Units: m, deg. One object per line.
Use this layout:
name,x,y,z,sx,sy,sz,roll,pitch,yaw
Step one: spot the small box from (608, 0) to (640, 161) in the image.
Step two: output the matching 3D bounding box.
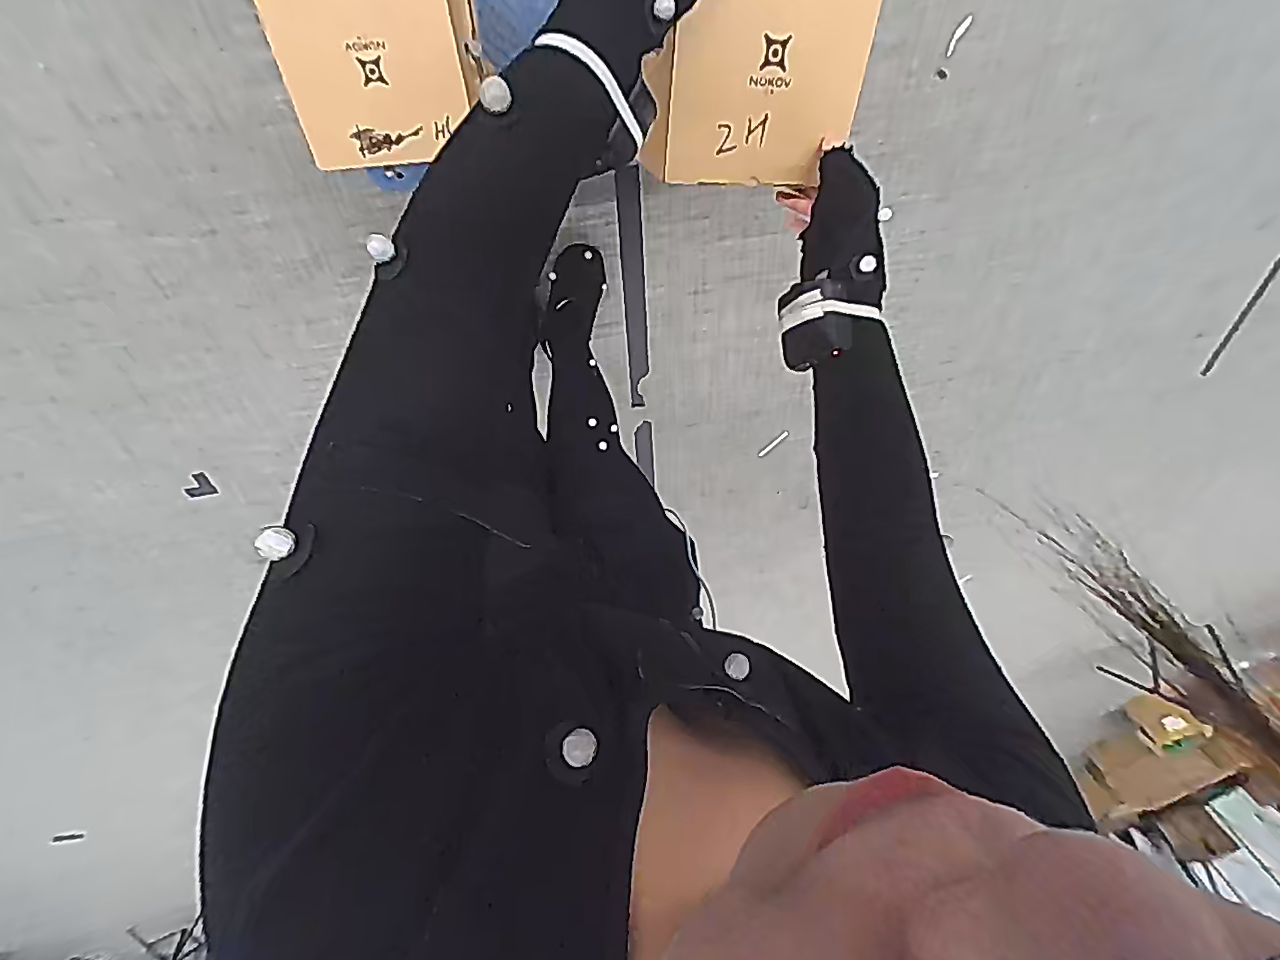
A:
small box,0.058,-0.476,0.627,0.179,0.176,0.168,-6,130,-10

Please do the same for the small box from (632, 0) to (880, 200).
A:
small box,0.088,-0.375,0.500,0.168,0.176,0.179,-4,130,-10

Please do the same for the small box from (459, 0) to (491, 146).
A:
small box,-0.293,-0.541,0.700,0.179,0.176,0.168,-6,130,-8

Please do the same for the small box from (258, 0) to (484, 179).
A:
small box,-0.267,-0.437,0.575,0.168,0.176,0.179,-9,130,-7
